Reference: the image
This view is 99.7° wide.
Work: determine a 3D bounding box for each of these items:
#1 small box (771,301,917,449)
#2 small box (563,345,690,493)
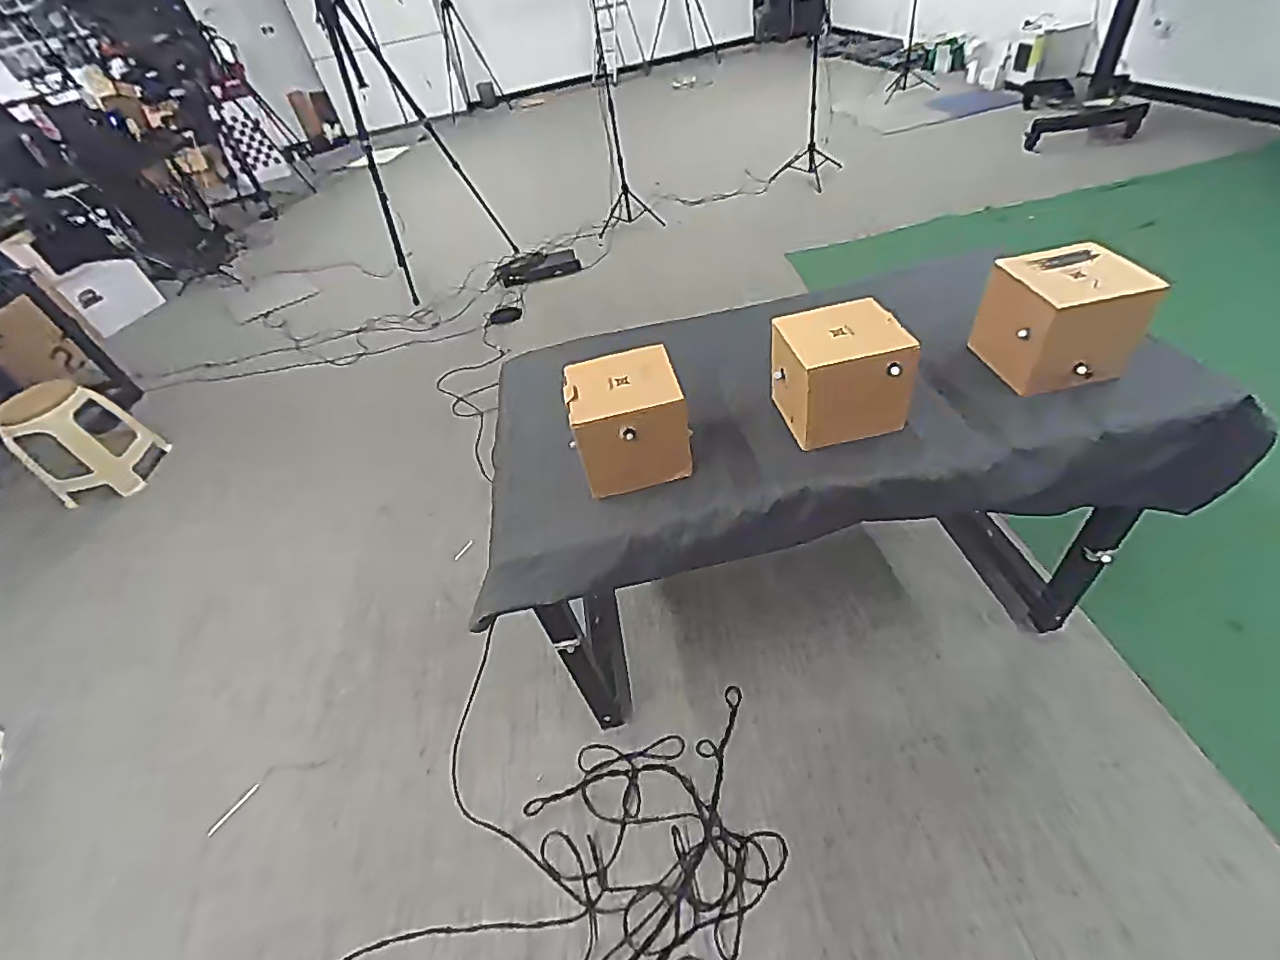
[{"bbox_3d":[0.329,-0.172,0.907,0.179,0.176,0.168,-12,43,0],"label":"small box"},{"bbox_3d":[-0.021,-0.098,0.908,0.179,0.176,0.168,-12,45,-2],"label":"small box"}]
